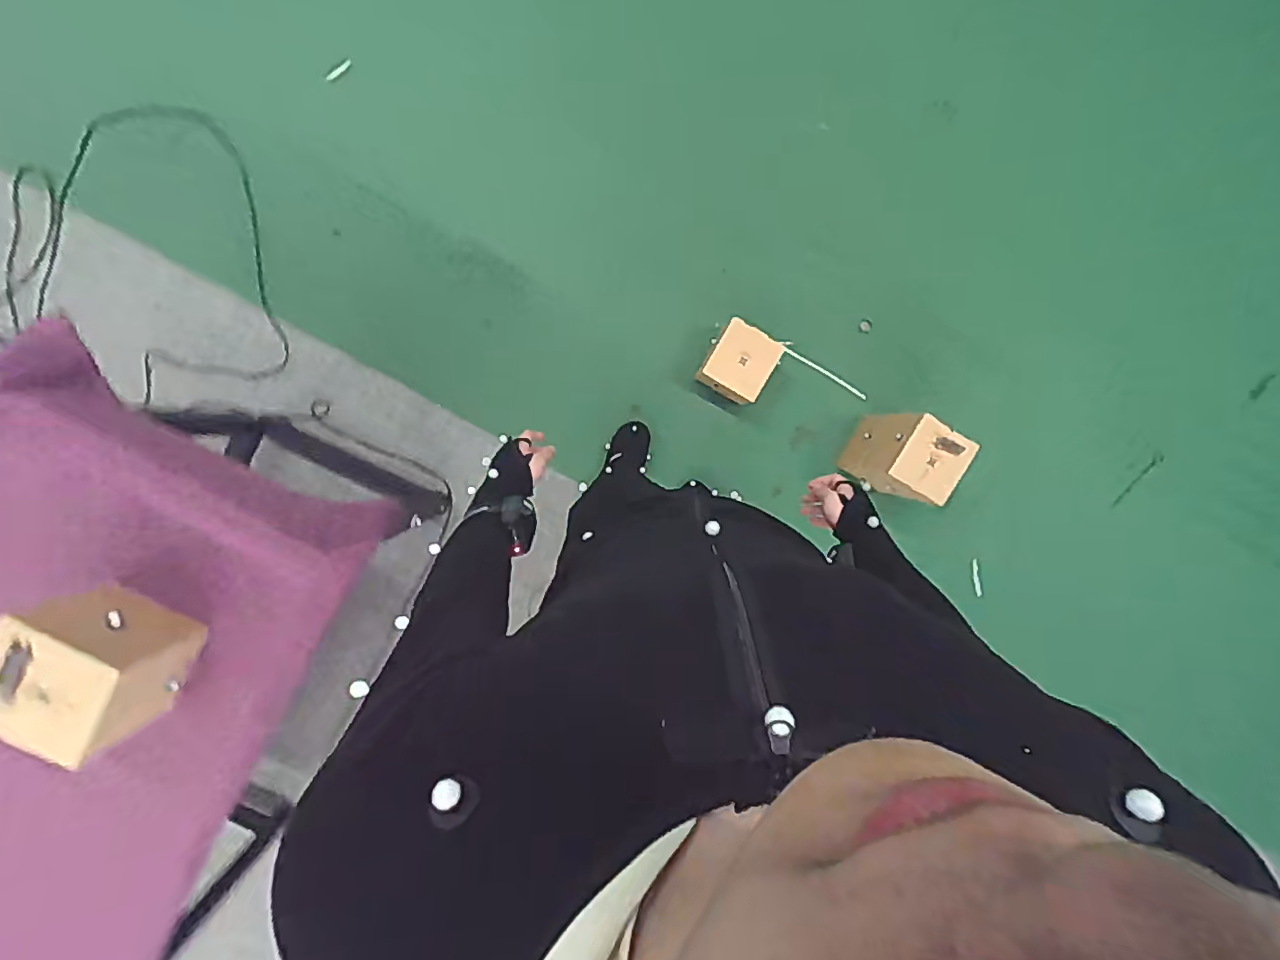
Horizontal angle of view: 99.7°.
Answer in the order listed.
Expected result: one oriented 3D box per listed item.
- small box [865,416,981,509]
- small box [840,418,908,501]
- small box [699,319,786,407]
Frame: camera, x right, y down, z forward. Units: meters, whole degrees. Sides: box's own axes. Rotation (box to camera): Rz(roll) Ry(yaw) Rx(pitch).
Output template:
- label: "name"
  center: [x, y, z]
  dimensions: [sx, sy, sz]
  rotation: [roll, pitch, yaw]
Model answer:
- label: "small box"
  center: [0.718, -0.048, 1.395]
  dimensions: [0.168, 0.176, 0.179]
  rotation: [31, 93, -4]
- label: "small box"
  center: [0.710, -0.063, 1.558]
  dimensions: [0.168, 0.176, 0.179]
  rotation: [31, 93, -4]
- label: "small box"
  center: [0.279, -0.319, 1.524]
  dimensions: [0.168, 0.176, 0.179]
  rotation: [30, 92, -4]
